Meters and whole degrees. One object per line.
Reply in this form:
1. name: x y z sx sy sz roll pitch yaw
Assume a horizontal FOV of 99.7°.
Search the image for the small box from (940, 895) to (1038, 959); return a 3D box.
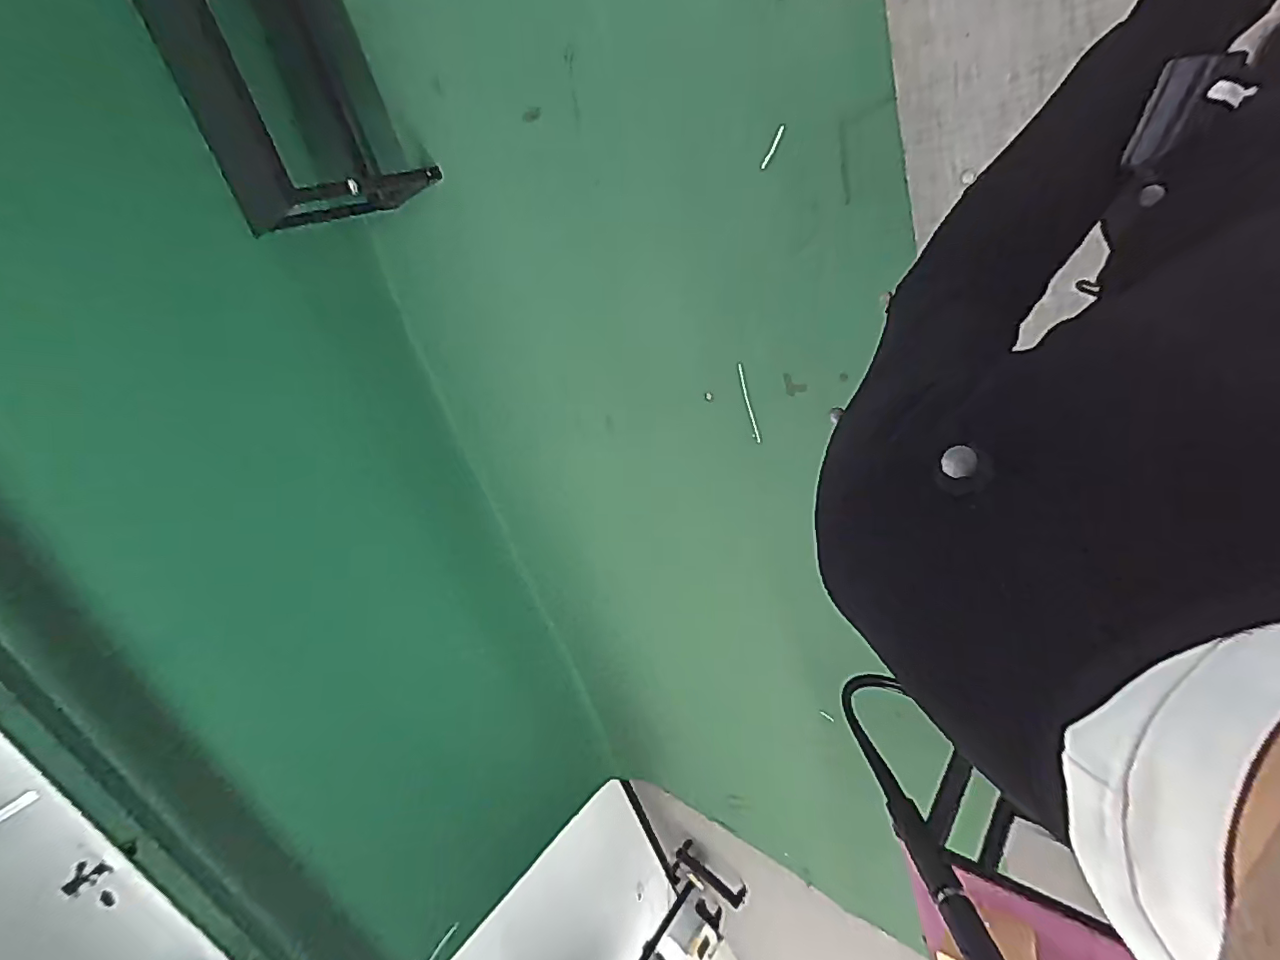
1. small box: 0.847 1.170 1.304 0.168 0.176 0.179 3 120 45
